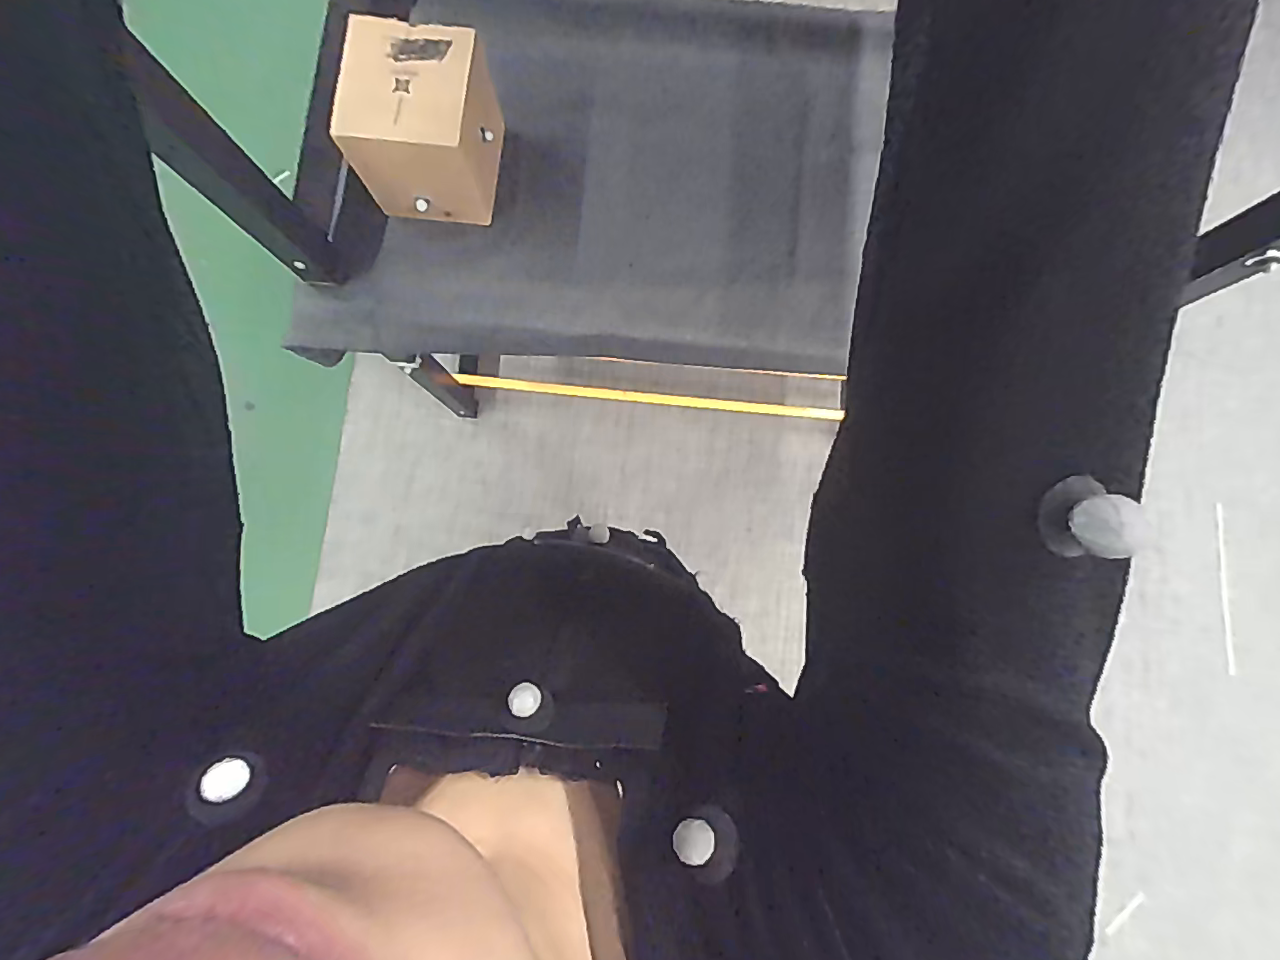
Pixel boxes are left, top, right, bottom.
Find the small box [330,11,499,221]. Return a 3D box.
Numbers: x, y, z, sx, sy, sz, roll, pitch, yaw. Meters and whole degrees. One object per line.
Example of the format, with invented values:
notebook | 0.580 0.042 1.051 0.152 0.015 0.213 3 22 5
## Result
small box | -0.306 -0.507 0.774 0.168 0.176 0.179 5 82 -1
